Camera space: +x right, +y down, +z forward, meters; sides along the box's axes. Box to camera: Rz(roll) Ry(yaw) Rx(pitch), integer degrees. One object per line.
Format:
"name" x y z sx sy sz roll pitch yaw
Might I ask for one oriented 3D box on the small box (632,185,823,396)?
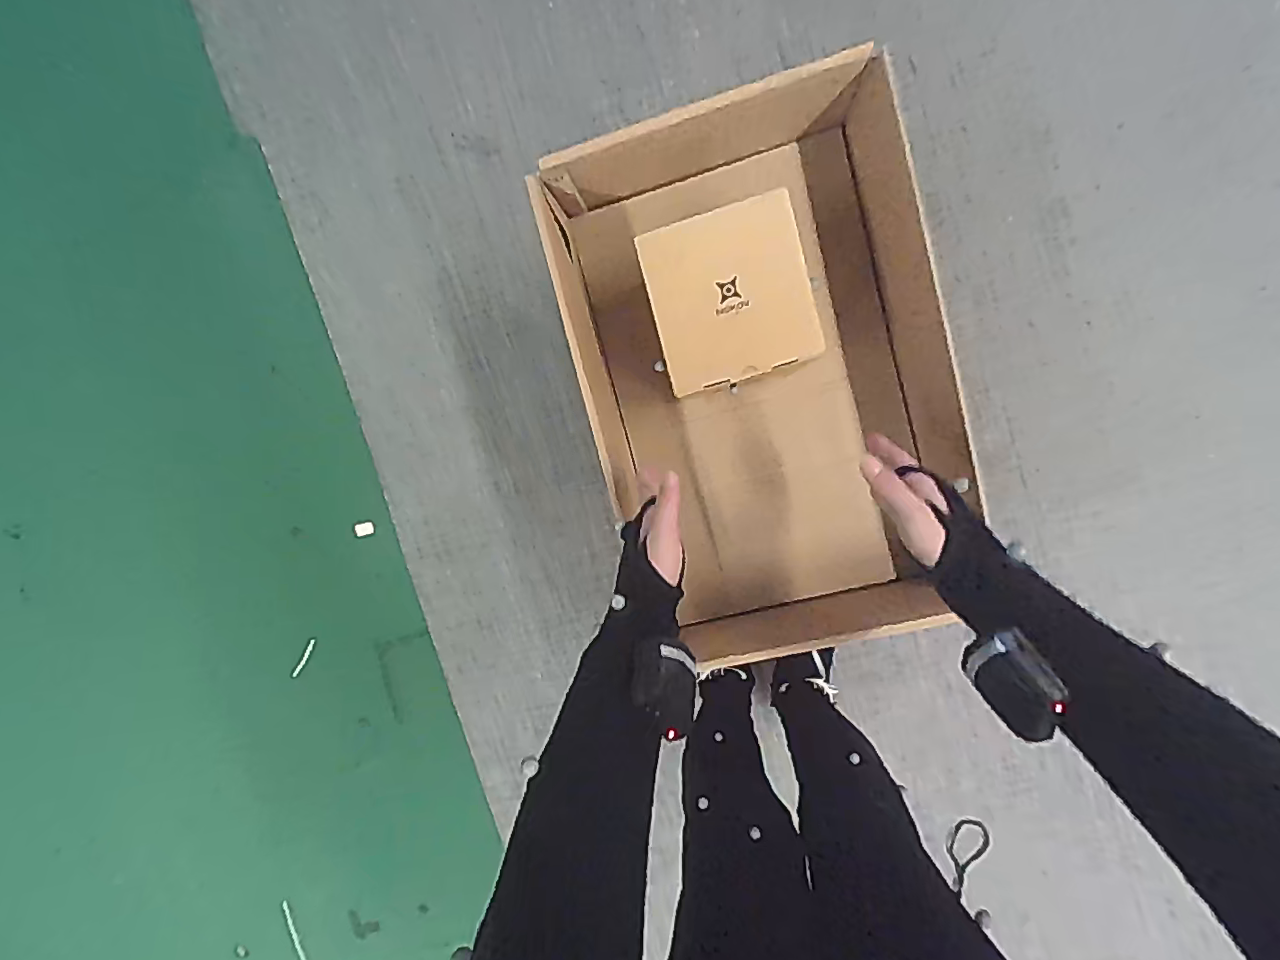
"small box" 0.098 -0.205 0.641 0.168 0.176 0.179 -16 95 8
